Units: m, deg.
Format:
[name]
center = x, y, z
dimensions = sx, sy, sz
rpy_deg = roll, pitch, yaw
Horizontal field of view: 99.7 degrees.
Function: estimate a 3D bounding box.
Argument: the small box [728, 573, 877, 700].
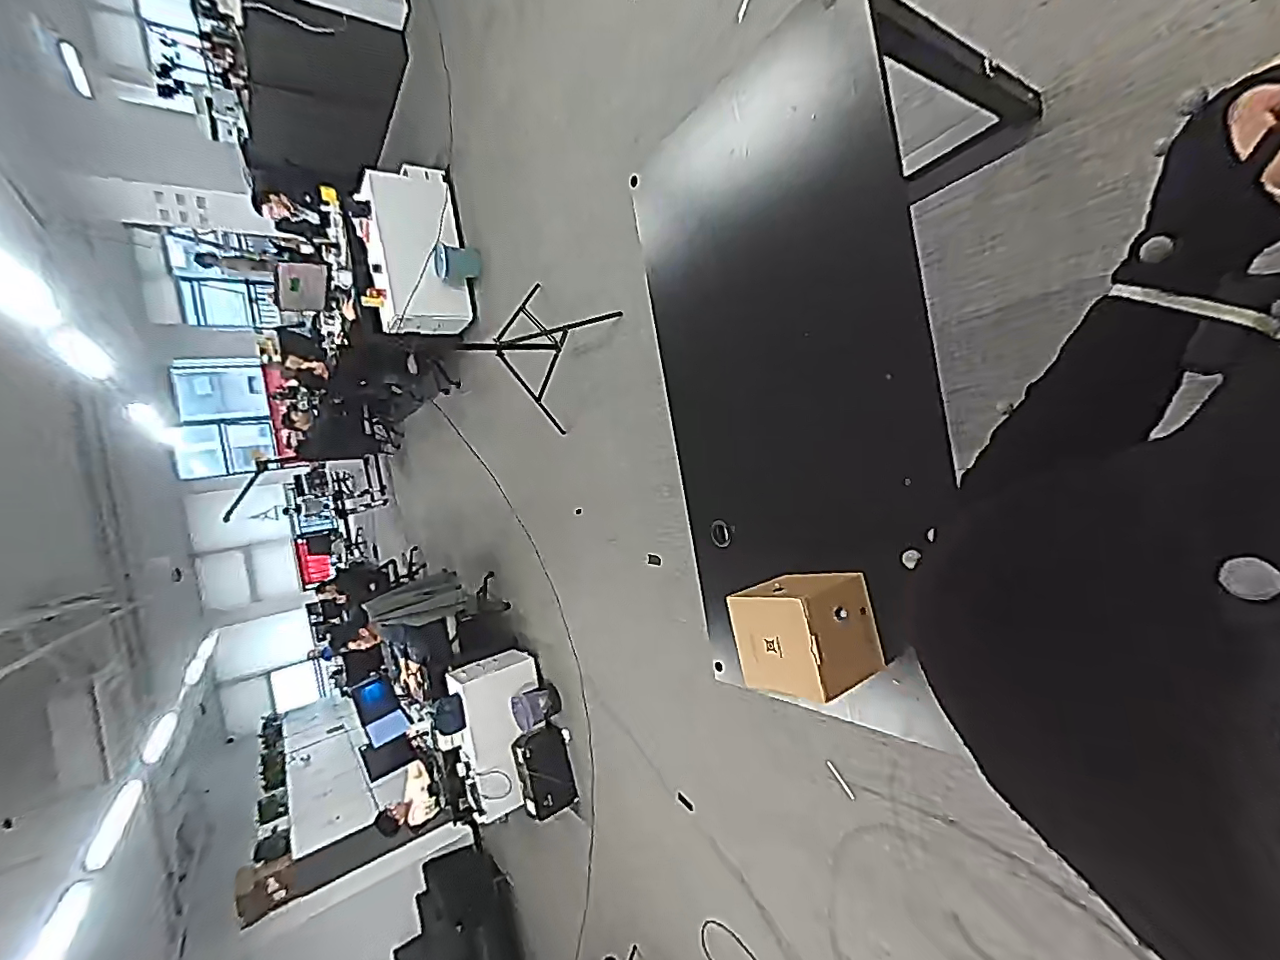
[small box]
center = 0.287, 0.260, 0.942
dimensions = 0.179, 0.176, 0.168
rpy_deg = -18, 83, 56
